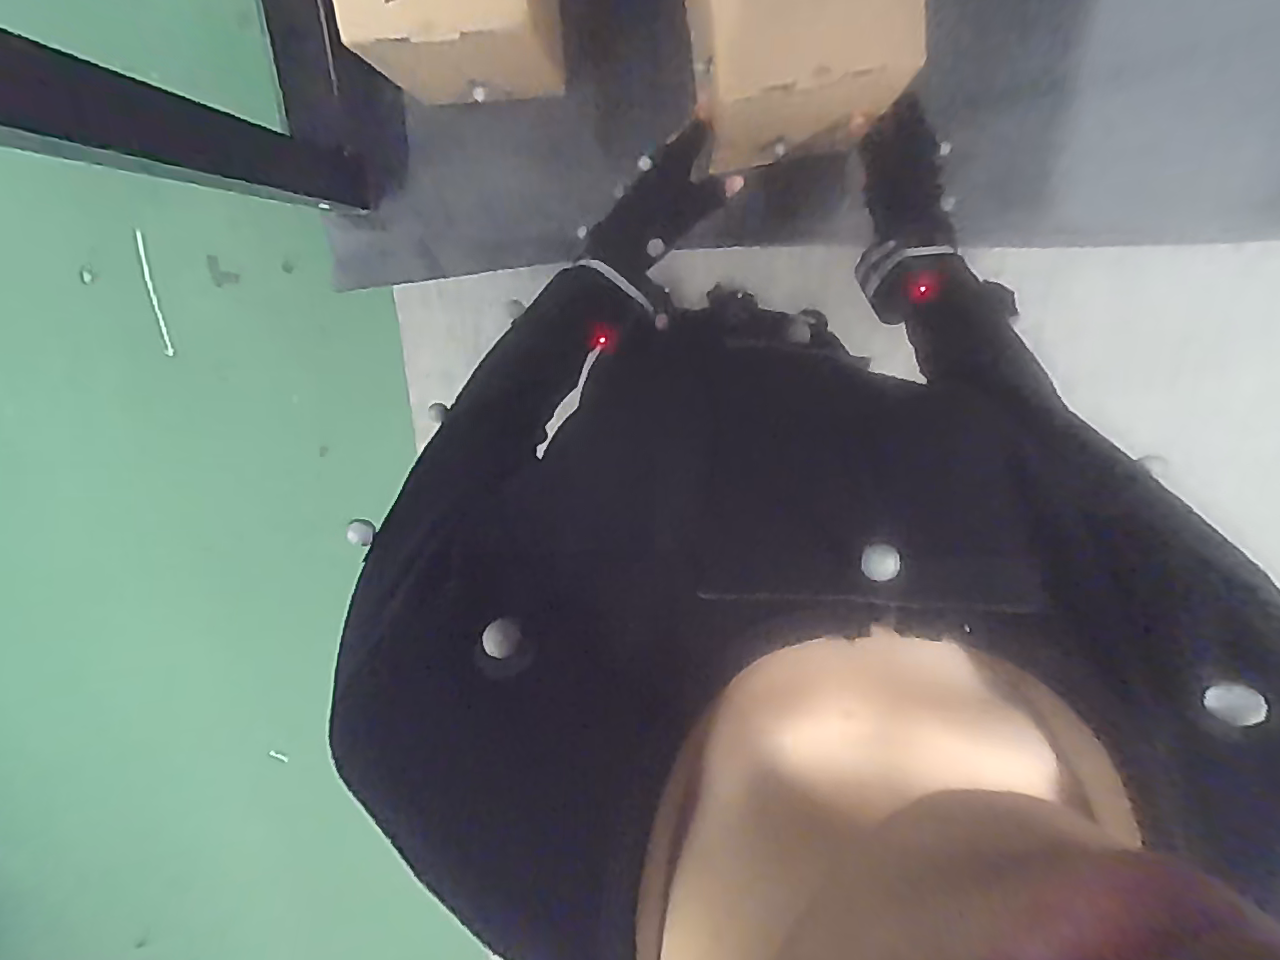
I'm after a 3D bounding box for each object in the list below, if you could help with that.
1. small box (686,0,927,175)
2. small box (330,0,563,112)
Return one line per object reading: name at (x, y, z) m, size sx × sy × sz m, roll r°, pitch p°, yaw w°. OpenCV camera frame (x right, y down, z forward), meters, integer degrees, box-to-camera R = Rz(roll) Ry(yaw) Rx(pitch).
small box at (0.135, -0.414, 0.493) m, size 0.168 × 0.176 × 0.179 m, roll -8°, pitch 99°, yaw 5°
small box at (-0.173, -0.476, 0.505) m, size 0.168 × 0.176 × 0.179 m, roll -1°, pitch 108°, yaw 5°
